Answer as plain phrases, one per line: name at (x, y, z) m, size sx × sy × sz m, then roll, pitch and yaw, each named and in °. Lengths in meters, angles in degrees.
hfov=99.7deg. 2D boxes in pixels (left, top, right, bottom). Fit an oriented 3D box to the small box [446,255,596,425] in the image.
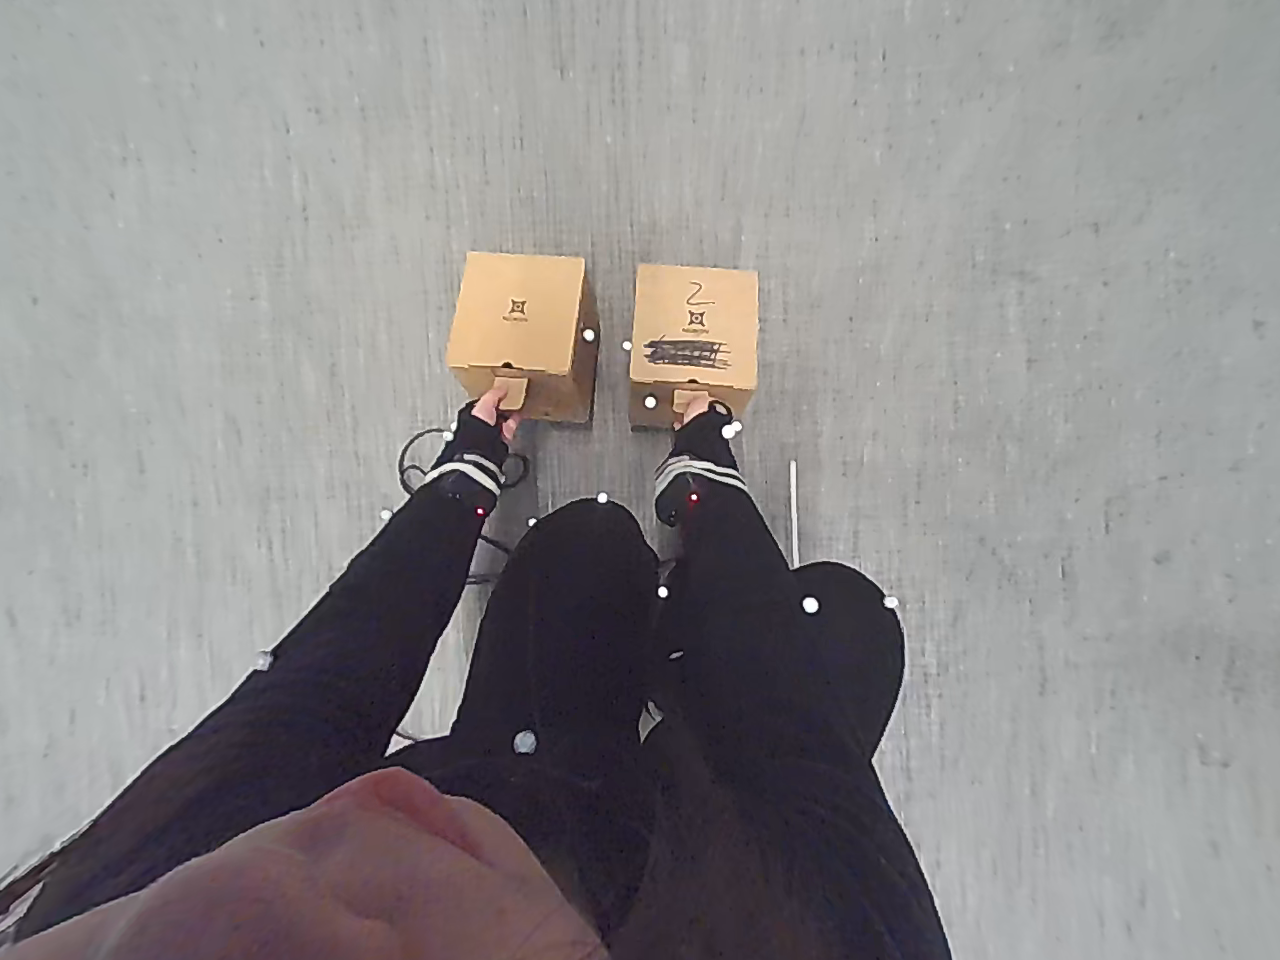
small box at (-0.161, -0.199, 0.799) m, size 0.168 × 0.176 × 0.179 m, roll 6°, pitch 75°, yaw 4°
